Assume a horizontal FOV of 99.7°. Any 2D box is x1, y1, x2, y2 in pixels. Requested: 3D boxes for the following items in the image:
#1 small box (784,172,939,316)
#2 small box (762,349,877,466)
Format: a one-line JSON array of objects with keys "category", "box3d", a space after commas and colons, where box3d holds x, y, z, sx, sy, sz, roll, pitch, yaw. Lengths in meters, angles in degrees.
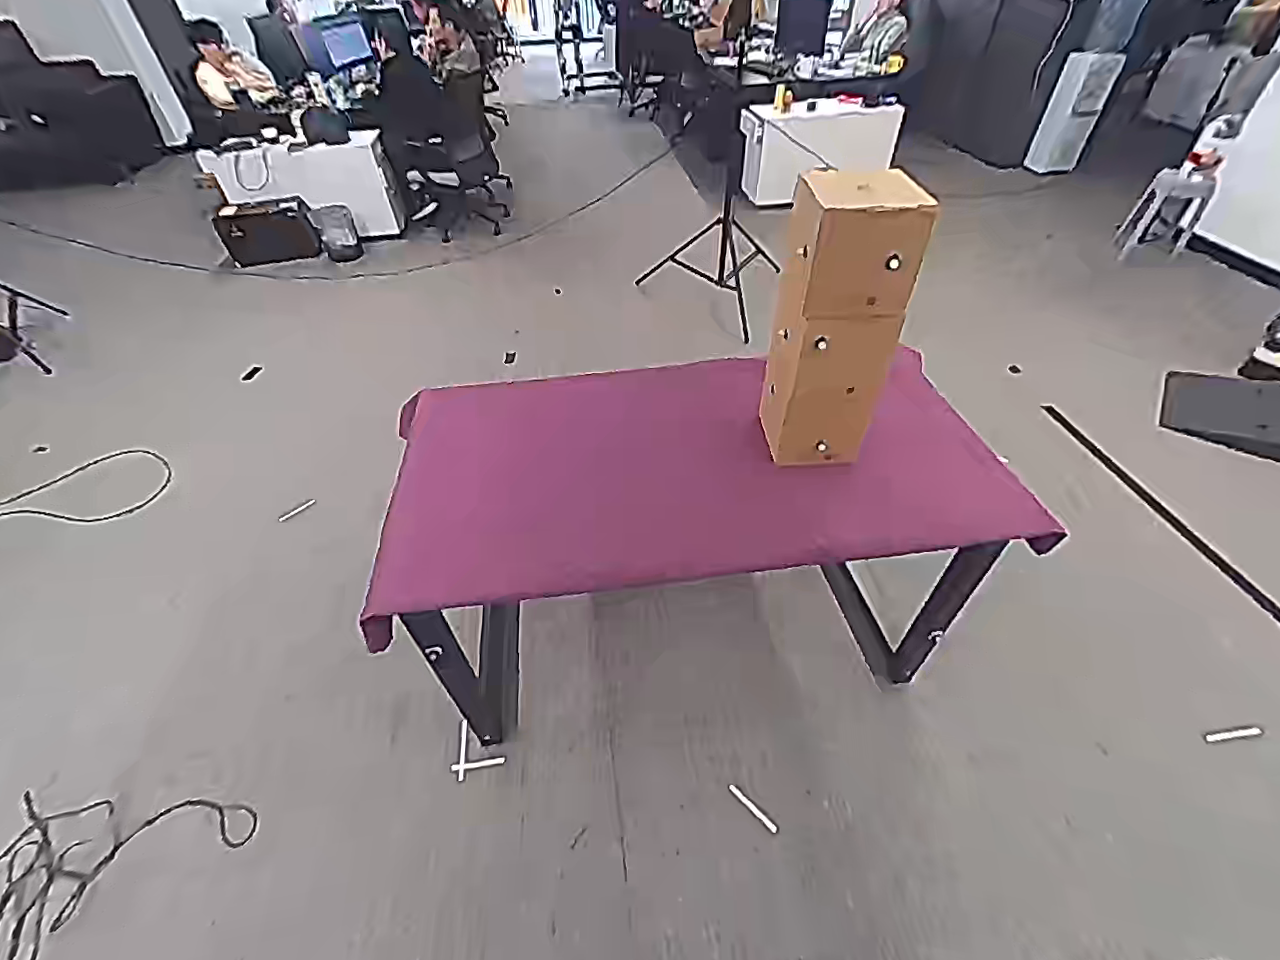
[{"category": "small box", "box3d": [0.338, -0.374, 0.865, 0.168, 0.176, 0.179, -1, 44, 0]}, {"category": "small box", "box3d": [0.352, -0.147, 1.100, 0.168, 0.176, 0.179, -3, 45, 0]}]
